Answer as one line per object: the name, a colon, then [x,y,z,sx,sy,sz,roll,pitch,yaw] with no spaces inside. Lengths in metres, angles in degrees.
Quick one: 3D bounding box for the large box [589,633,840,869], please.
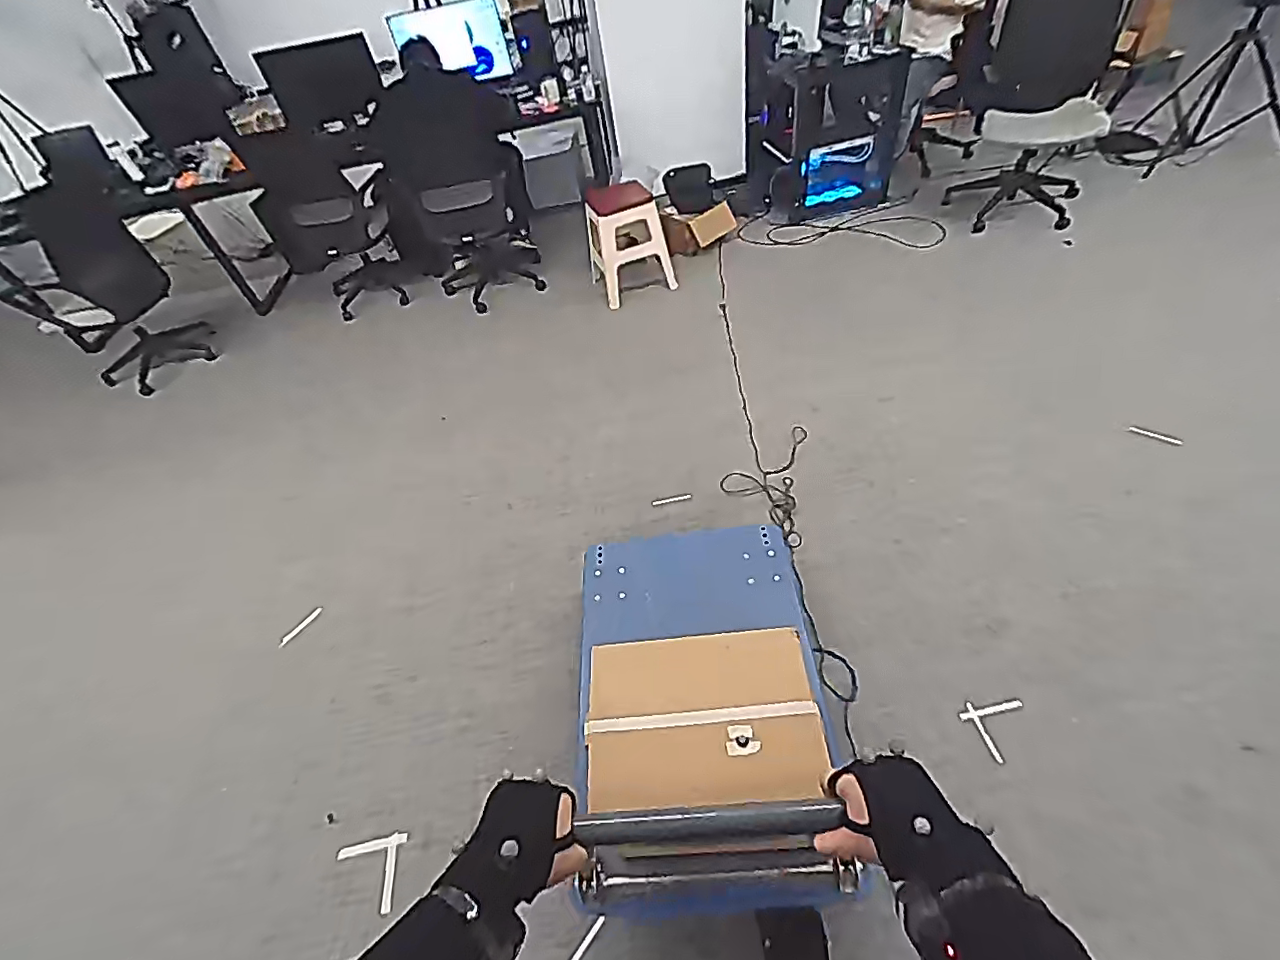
large box: [0.124,0.531,1.051,0.408,0.320,0.320,-7,47,4]
